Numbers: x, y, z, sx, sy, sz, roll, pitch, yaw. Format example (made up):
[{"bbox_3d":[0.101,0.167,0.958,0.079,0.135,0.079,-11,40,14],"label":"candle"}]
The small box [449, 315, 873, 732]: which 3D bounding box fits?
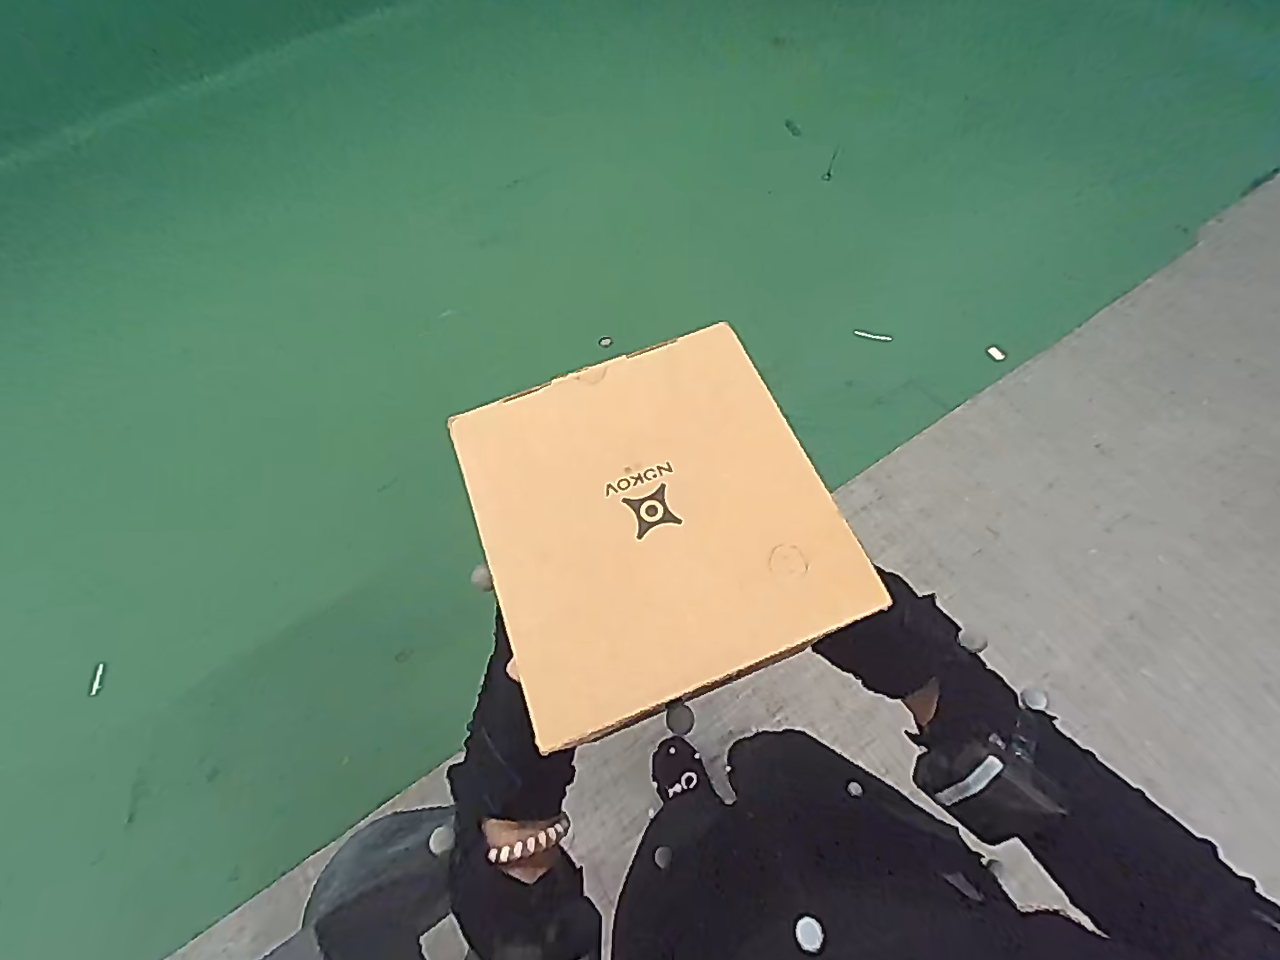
[{"bbox_3d":[0.006,0.038,0.339,0.168,0.176,0.179,-21,65,-6],"label":"small box"}]
